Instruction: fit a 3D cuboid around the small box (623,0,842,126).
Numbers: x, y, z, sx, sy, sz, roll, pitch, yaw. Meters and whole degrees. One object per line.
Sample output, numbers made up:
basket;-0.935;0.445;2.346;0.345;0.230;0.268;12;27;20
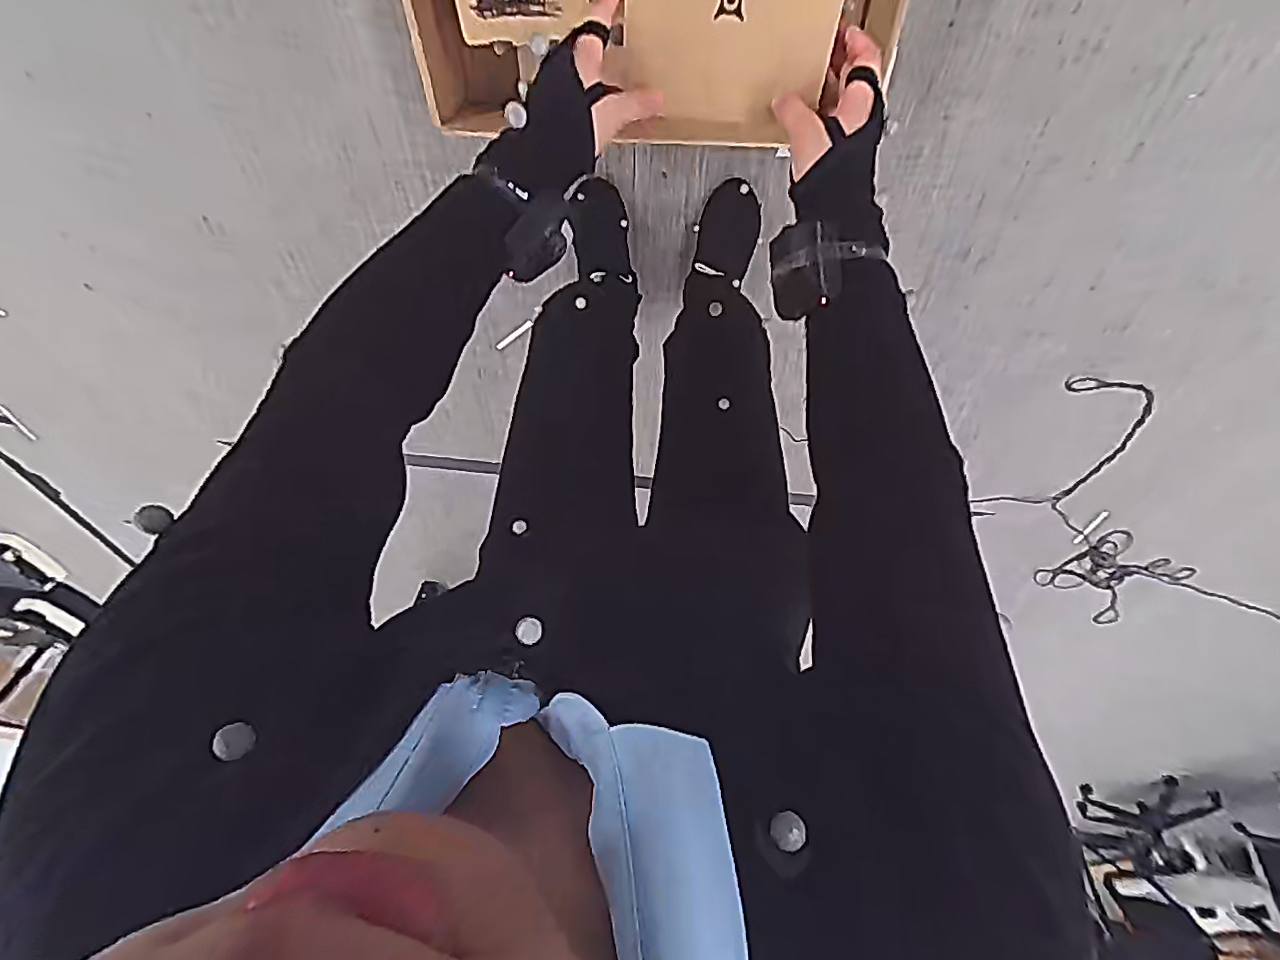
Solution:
small box;0.080;-0.432;0.458;0.168;0.176;0.179;6;137;1
